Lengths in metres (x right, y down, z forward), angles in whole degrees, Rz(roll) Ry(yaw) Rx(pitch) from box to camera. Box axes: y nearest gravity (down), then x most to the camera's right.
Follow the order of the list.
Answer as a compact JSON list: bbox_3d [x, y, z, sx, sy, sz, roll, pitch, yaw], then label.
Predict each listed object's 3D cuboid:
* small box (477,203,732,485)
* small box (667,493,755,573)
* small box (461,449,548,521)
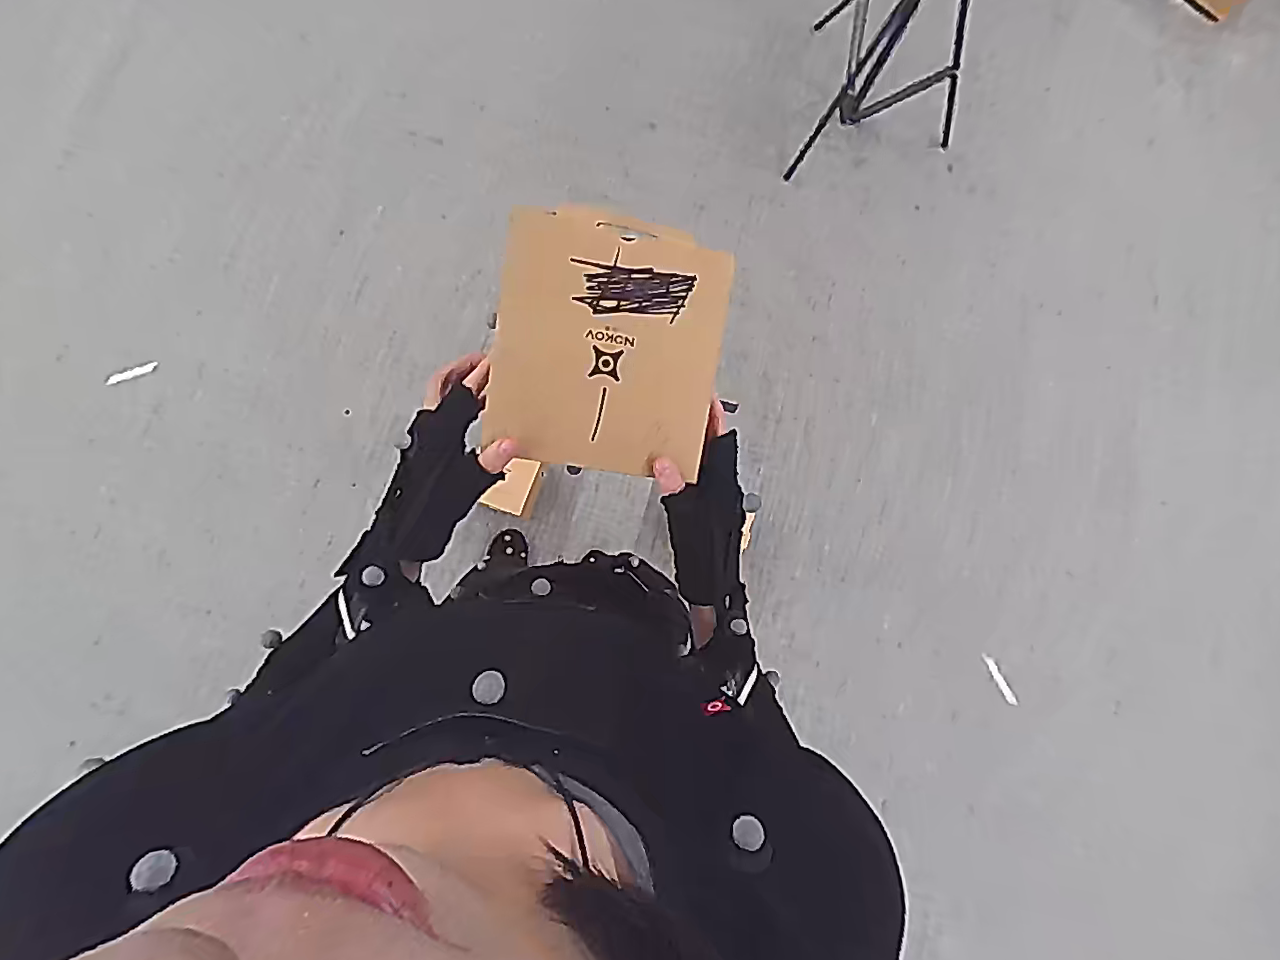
[{"bbox_3d":[-0.037,-0.101,0.465,0.168,0.176,0.179,8,96,-10],"label":"small box"},{"bbox_3d":[0.188,0.146,1.480,0.179,0.176,0.168,20,80,-3],"label":"small box"},{"bbox_3d":[-0.356,0.001,1.458,0.168,0.176,0.179,19,81,0],"label":"small box"}]
